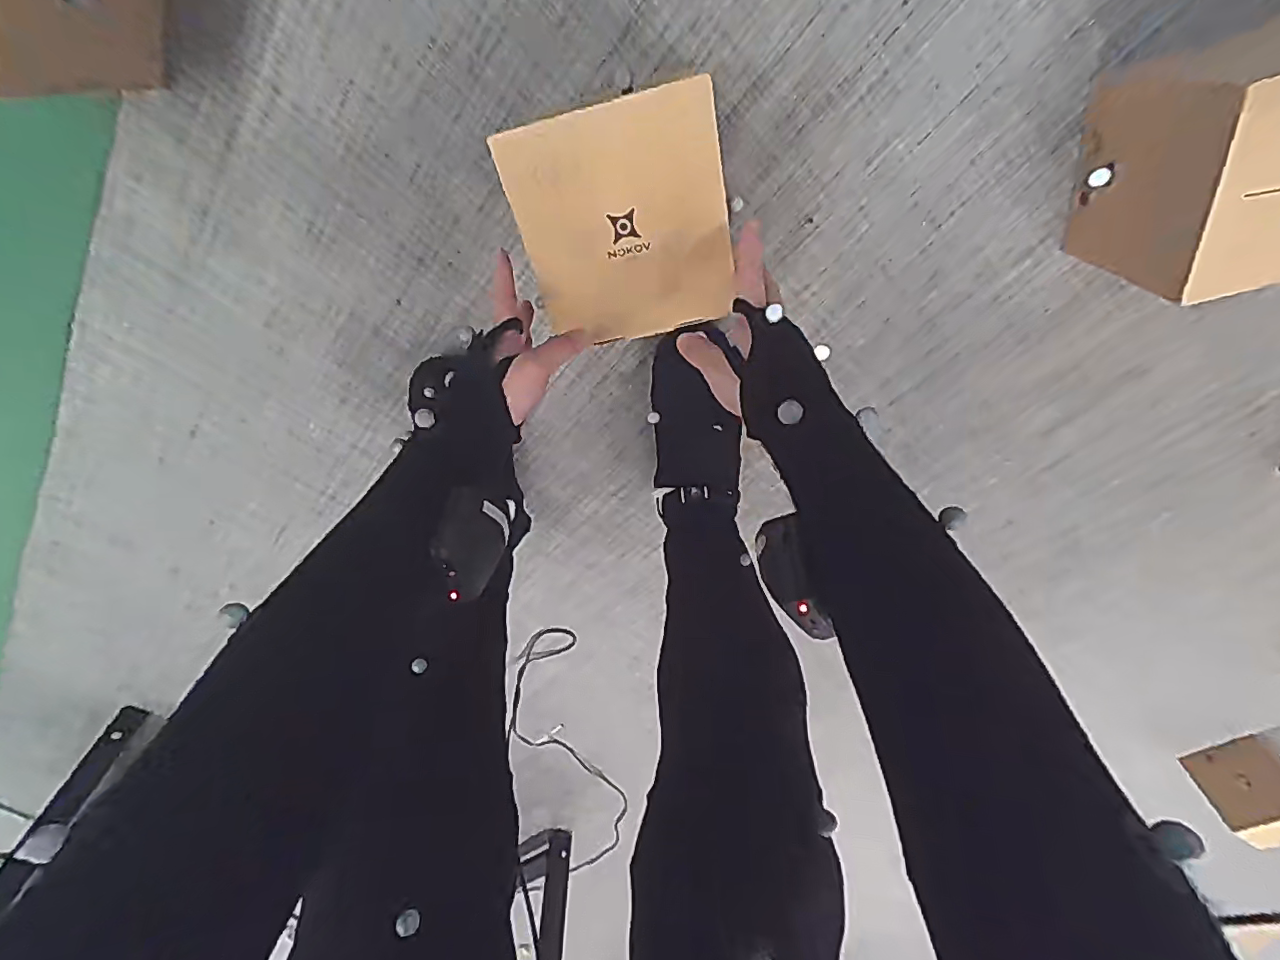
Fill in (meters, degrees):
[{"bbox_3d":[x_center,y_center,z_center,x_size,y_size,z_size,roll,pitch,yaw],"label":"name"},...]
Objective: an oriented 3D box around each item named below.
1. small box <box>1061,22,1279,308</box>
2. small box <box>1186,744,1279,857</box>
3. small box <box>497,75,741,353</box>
[{"bbox_3d":[0.521,-0.277,0.468,0.179,0.176,0.168,-13,127,11],"label":"small box"},{"bbox_3d":[1.453,0.744,1.264,0.179,0.176,0.168,31,122,-22],"label":"small box"},{"bbox_3d":[-0.010,-0.246,0.496,0.168,0.176,0.179,-11,128,8],"label":"small box"}]
